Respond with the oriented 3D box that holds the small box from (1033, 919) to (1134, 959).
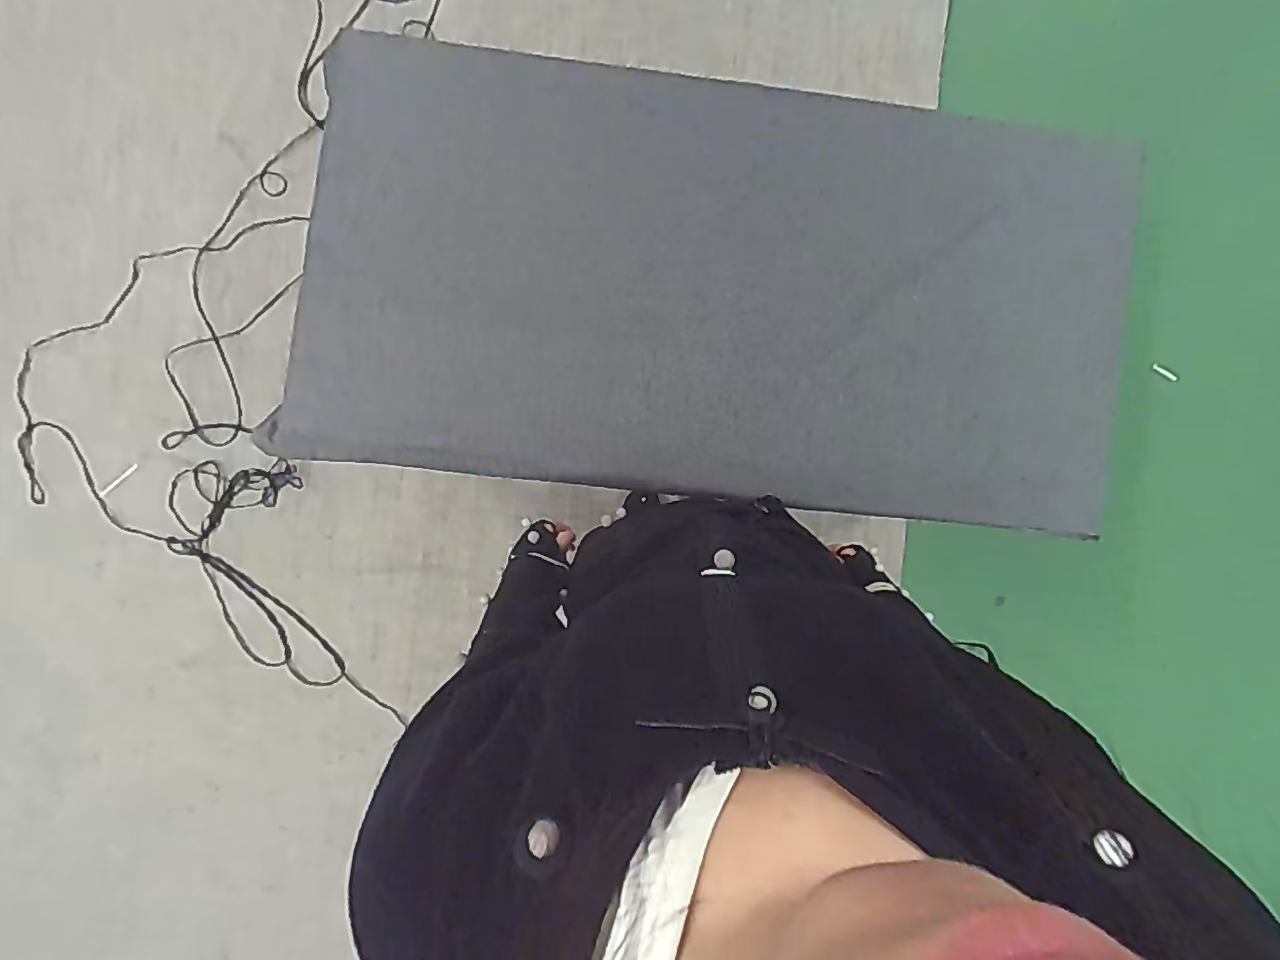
[{"bbox_3d":[1.163,1.281,1.395,0.179,0.176,0.168,7,87,-1],"label":"small box"}]
